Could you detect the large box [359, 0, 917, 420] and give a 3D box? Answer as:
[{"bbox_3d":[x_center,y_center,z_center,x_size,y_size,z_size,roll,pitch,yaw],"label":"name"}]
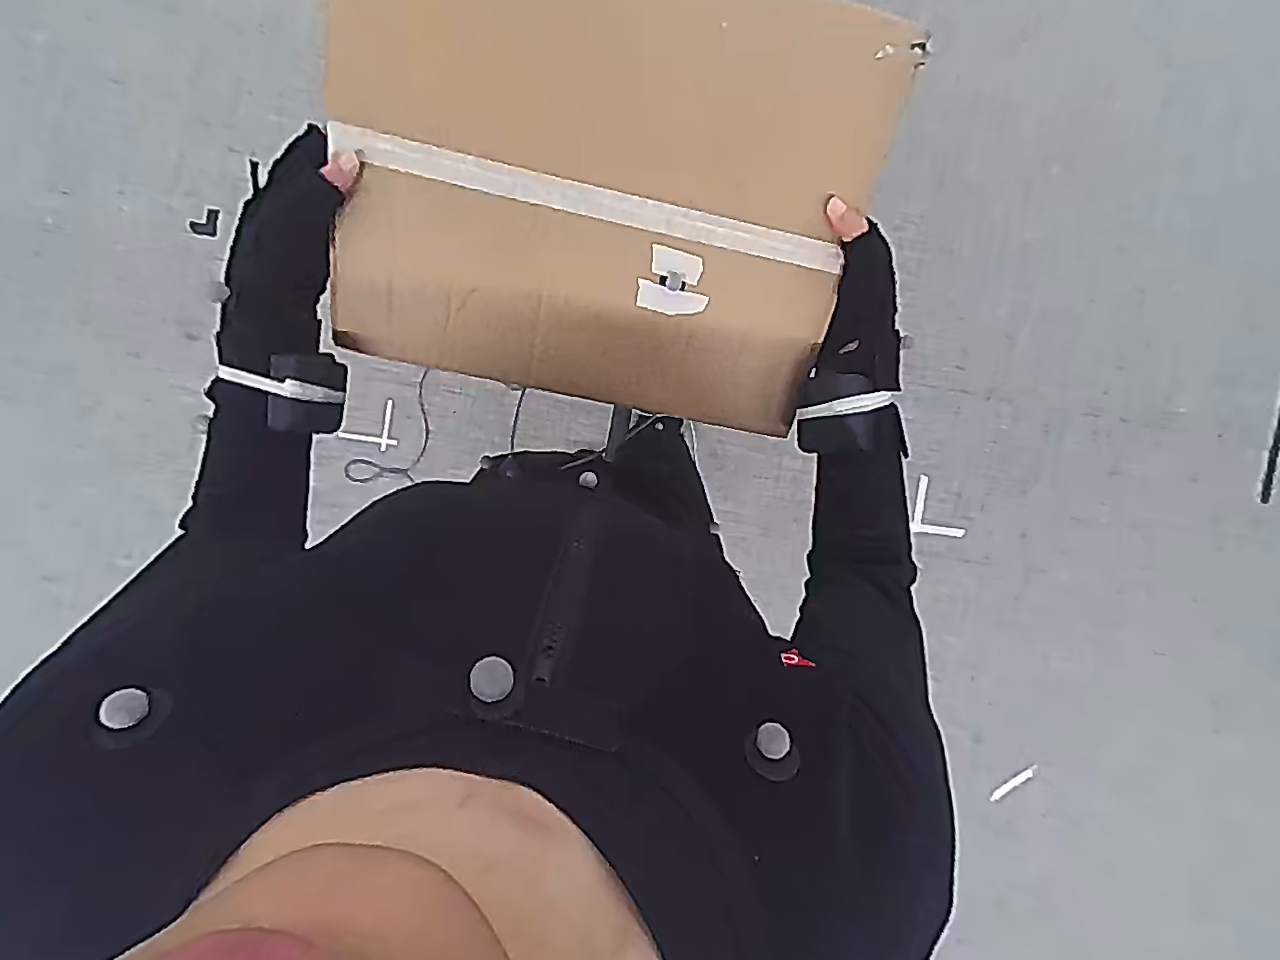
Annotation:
[{"bbox_3d":[-0.026,-0.289,0.569,0.408,0.320,0.320,11,116,-7],"label":"large box"}]
